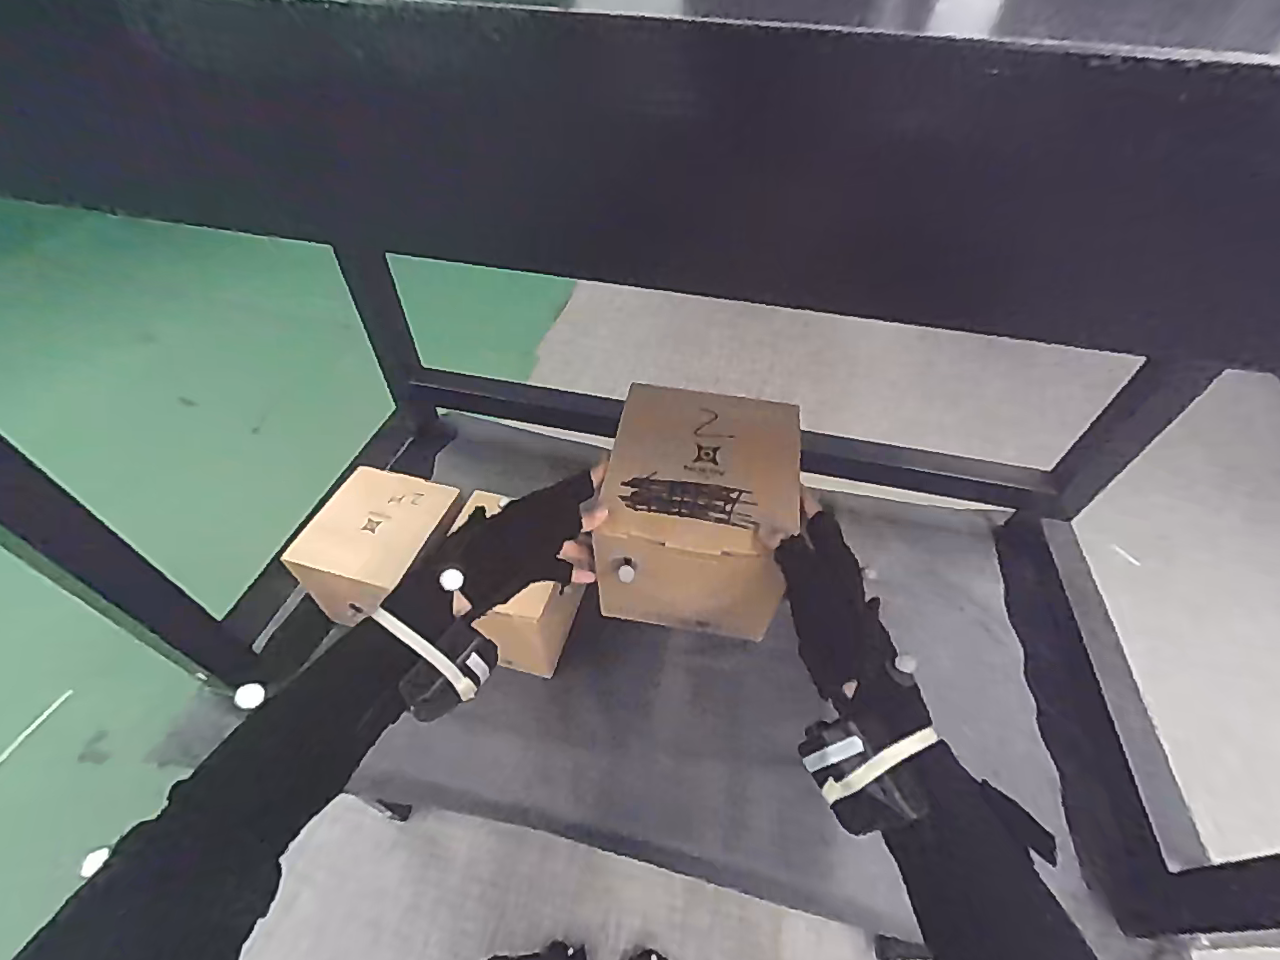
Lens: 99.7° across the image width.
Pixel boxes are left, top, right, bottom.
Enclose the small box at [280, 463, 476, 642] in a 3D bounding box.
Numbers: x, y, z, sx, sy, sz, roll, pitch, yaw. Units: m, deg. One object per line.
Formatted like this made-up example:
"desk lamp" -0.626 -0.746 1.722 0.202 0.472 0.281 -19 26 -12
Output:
"small box" -0.358 0.108 0.782 0.168 0.176 0.179 13 49 9
